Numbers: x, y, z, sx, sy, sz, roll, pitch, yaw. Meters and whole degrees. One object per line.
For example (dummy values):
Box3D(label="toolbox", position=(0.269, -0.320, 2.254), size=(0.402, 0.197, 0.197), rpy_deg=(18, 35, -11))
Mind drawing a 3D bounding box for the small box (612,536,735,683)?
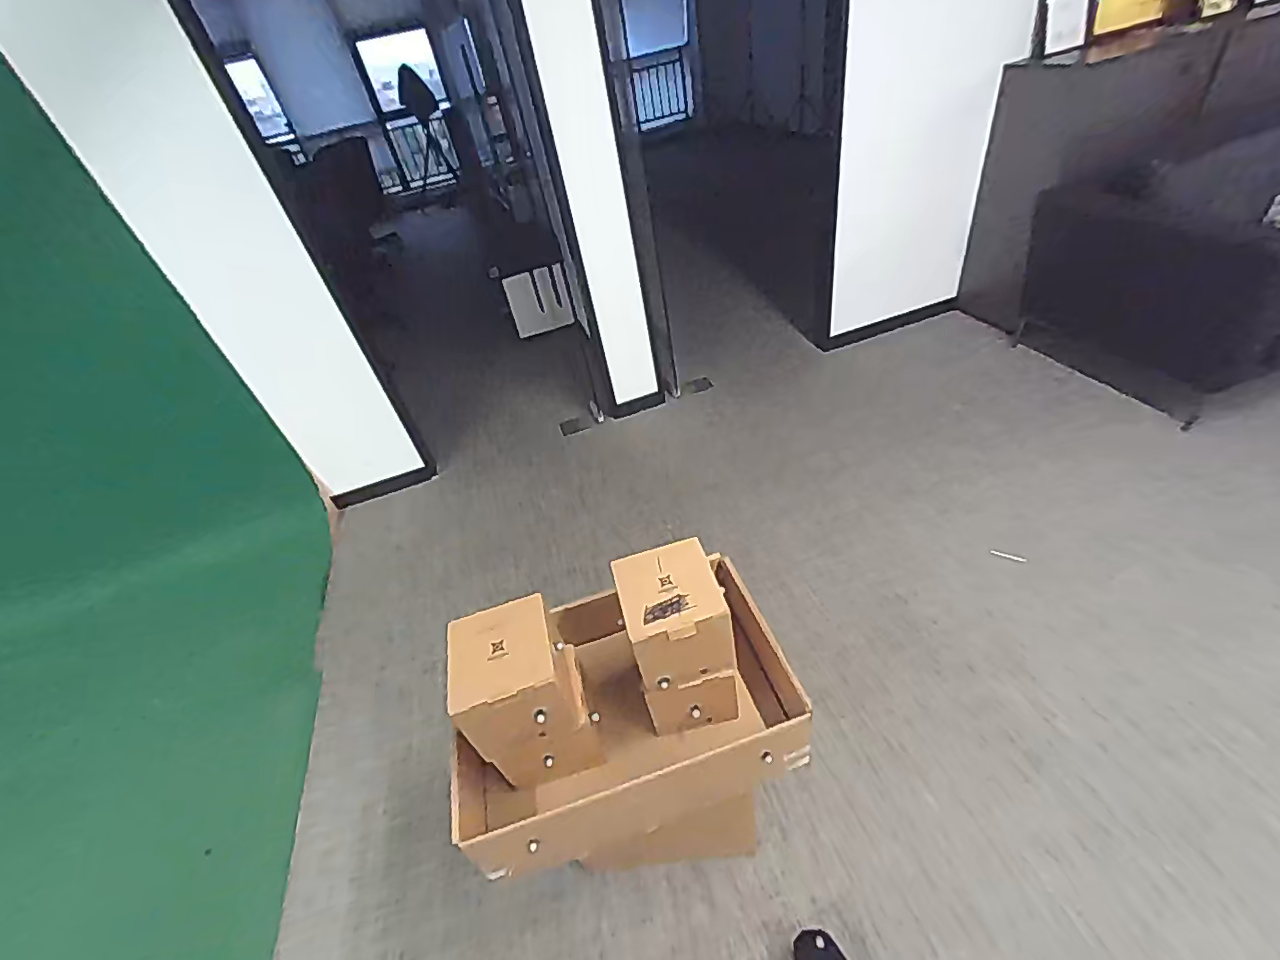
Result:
Box3D(label="small box", position=(0.061, 0.235, 0.958), size=(0.168, 0.176, 0.179), rpy_deg=(-17, 39, -3))

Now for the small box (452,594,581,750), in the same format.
Box3D(label="small box", position=(-0.208, 0.333, 0.924), size=(0.168, 0.176, 0.179), rpy_deg=(-18, 40, -5))
